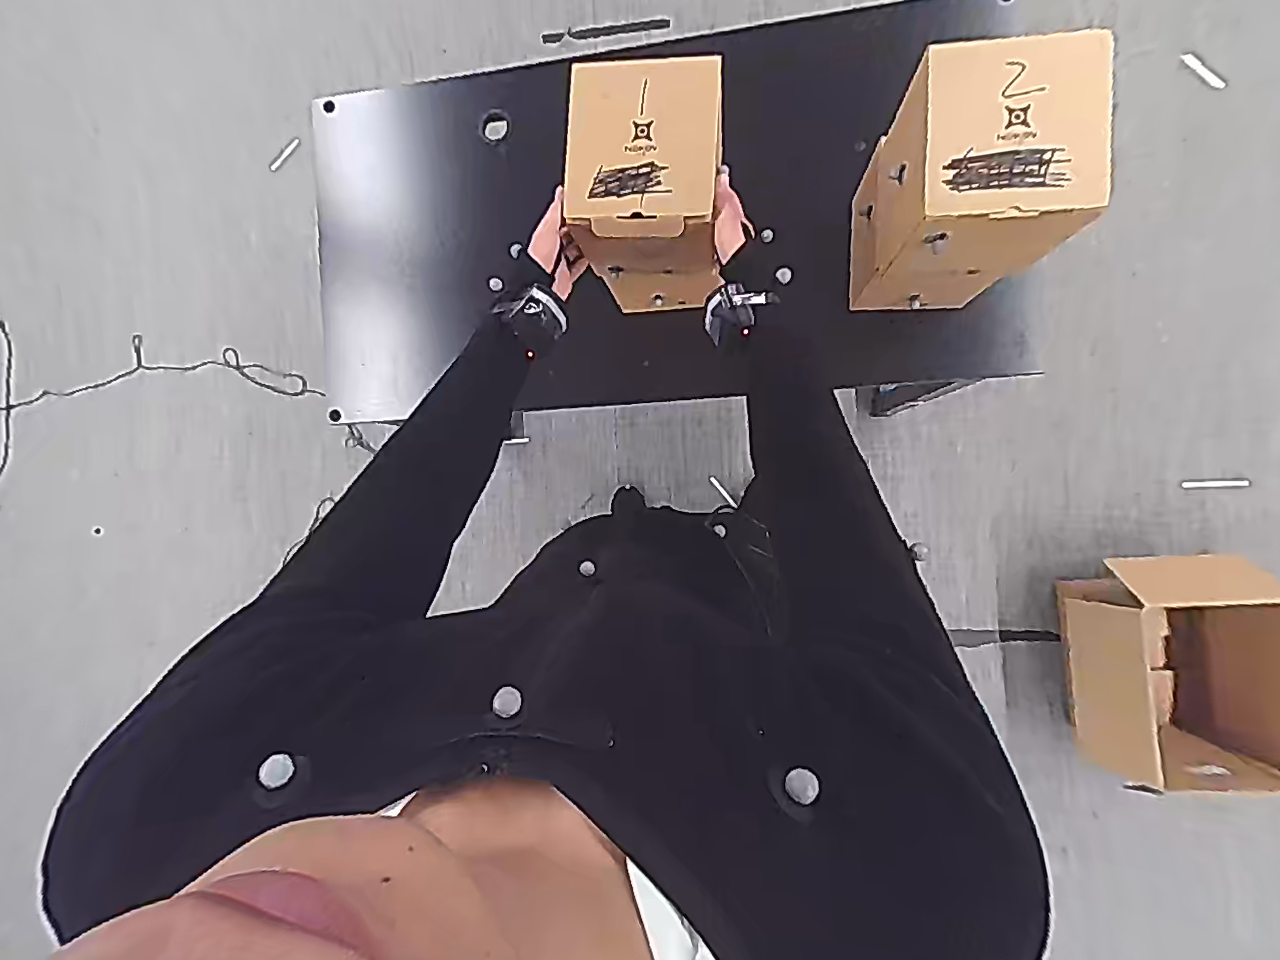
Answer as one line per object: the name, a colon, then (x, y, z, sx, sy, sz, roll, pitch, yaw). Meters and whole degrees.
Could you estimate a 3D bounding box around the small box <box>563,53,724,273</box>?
small box: (0.014, -0.364, 0.654, 0.168, 0.176, 0.179, 4, 90, 8)

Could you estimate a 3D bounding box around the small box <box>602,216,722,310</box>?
small box: (0.037, -0.374, 0.816, 0.168, 0.176, 0.179, -2, 90, 9)

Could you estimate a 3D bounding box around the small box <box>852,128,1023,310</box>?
small box: (0.402, -0.353, 0.759, 0.168, 0.176, 0.179, 2, 90, 10)
